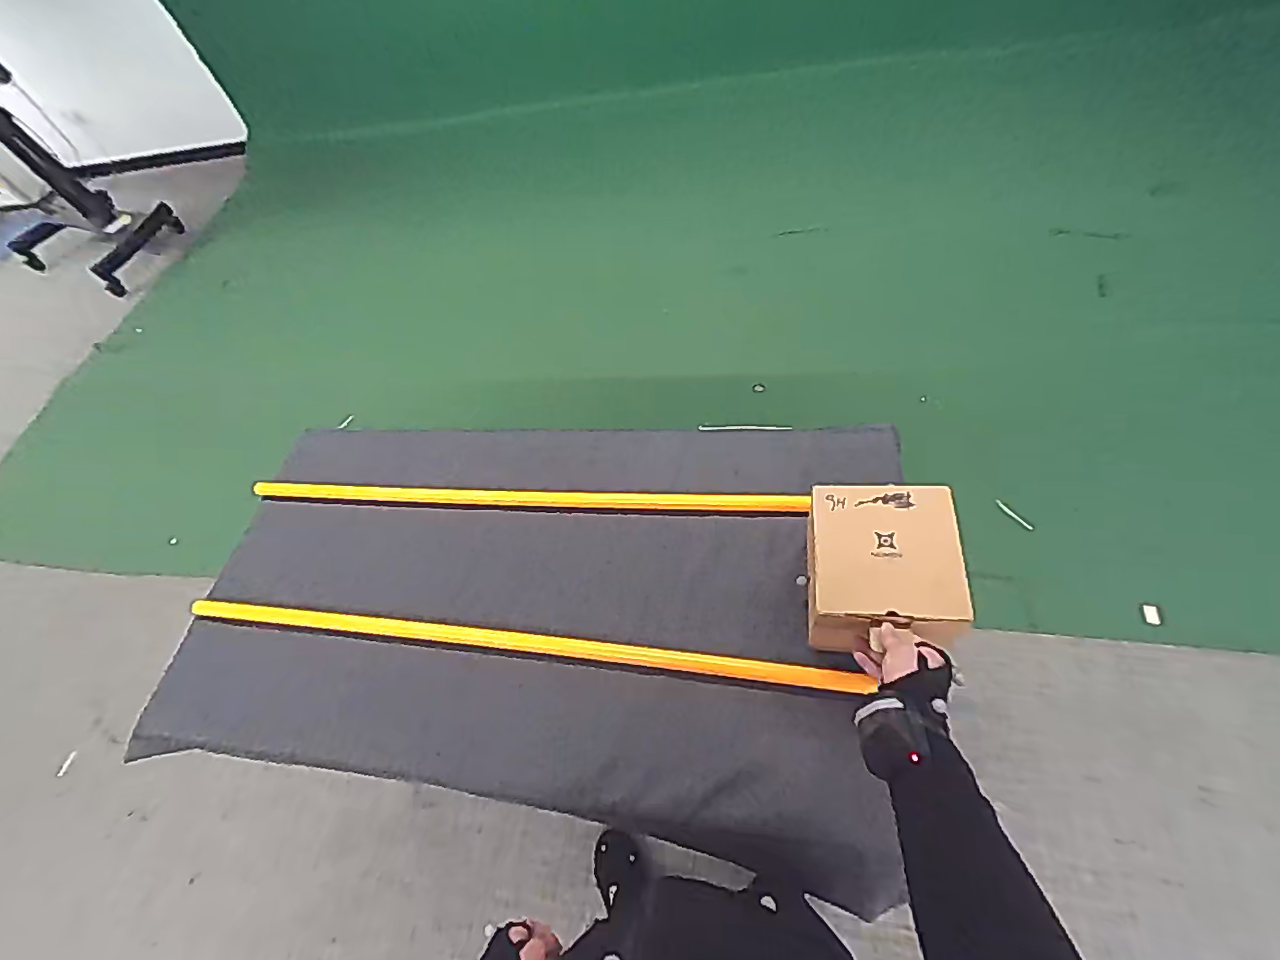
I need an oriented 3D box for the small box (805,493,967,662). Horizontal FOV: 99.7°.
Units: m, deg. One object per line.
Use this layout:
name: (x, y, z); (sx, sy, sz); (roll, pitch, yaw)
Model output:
small box: (0.313, 0.136, 0.723); (0.168, 0.176, 0.179); (-4, 57, 15)
